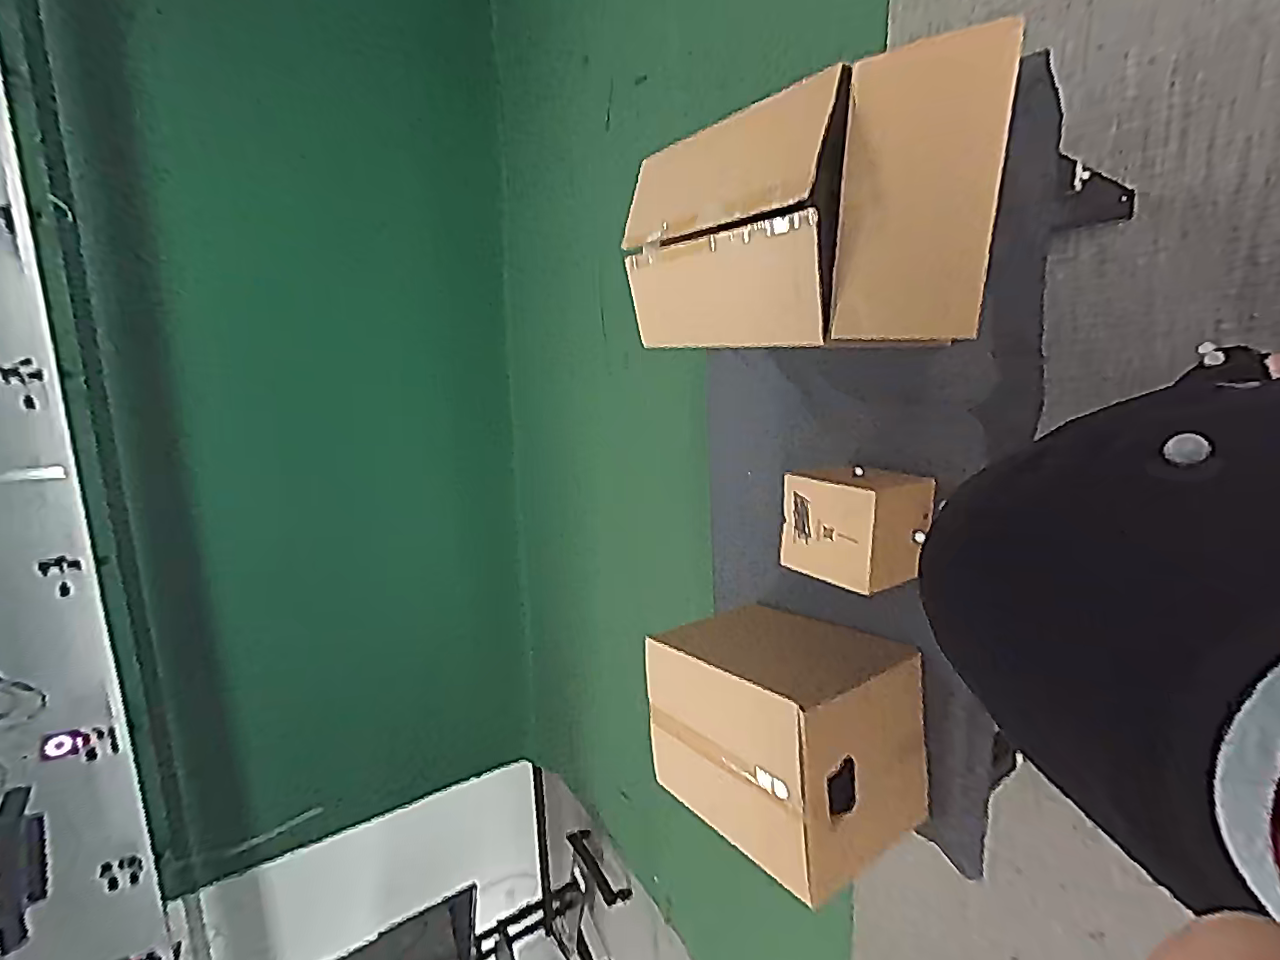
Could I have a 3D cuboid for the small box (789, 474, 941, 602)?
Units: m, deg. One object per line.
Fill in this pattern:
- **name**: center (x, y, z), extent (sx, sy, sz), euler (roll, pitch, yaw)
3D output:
- **small box**: center (0.382, 0.087, 0.930), extent (0.179, 0.176, 0.168), euler (15, 111, 55)
